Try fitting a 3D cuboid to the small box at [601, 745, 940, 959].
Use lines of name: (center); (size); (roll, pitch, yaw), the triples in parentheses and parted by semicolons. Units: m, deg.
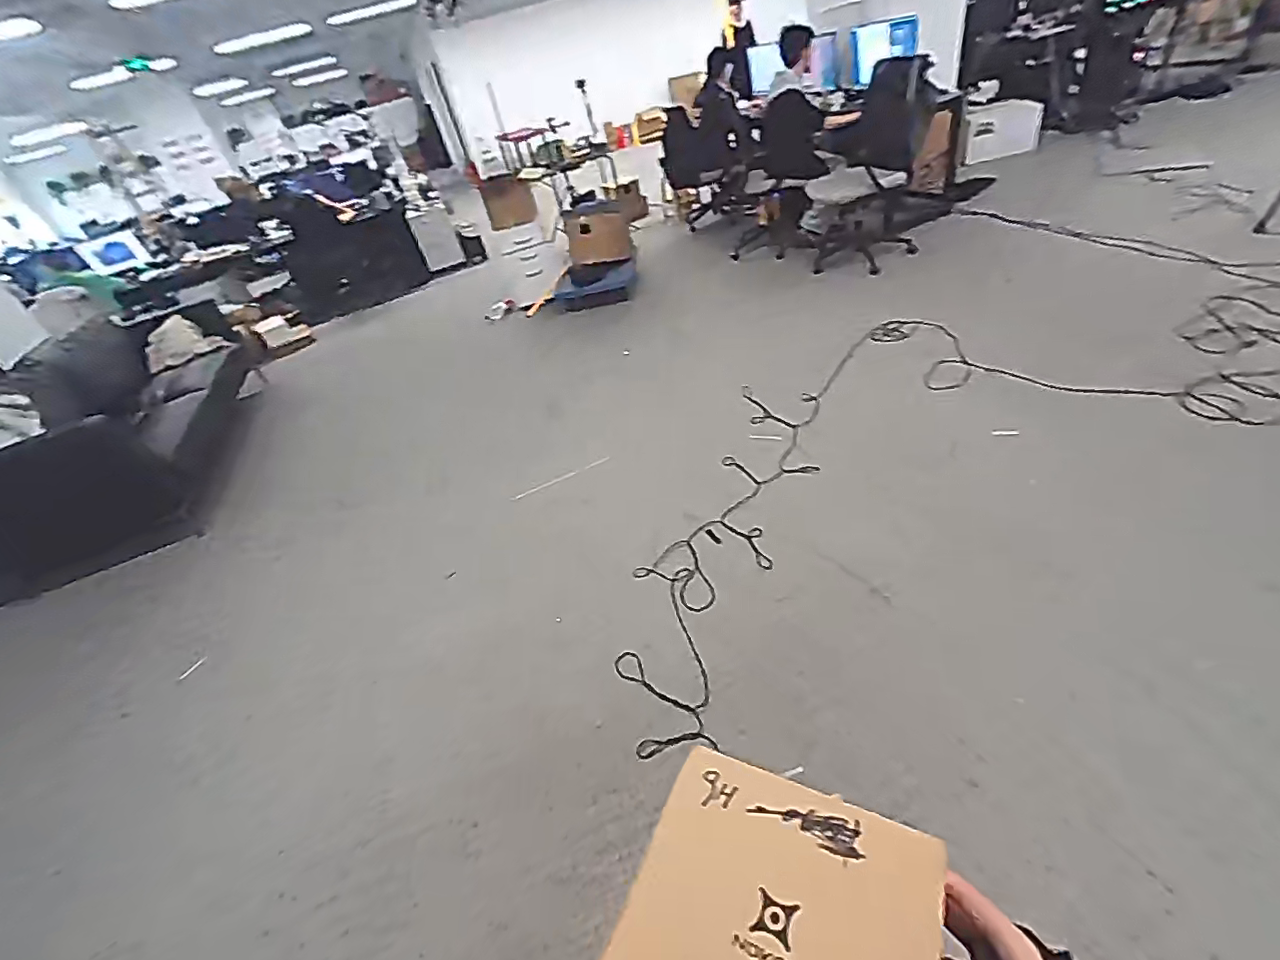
small box: (0.087, 0.320, 0.349); (0.168, 0.176, 0.179); (8, 39, 28)
